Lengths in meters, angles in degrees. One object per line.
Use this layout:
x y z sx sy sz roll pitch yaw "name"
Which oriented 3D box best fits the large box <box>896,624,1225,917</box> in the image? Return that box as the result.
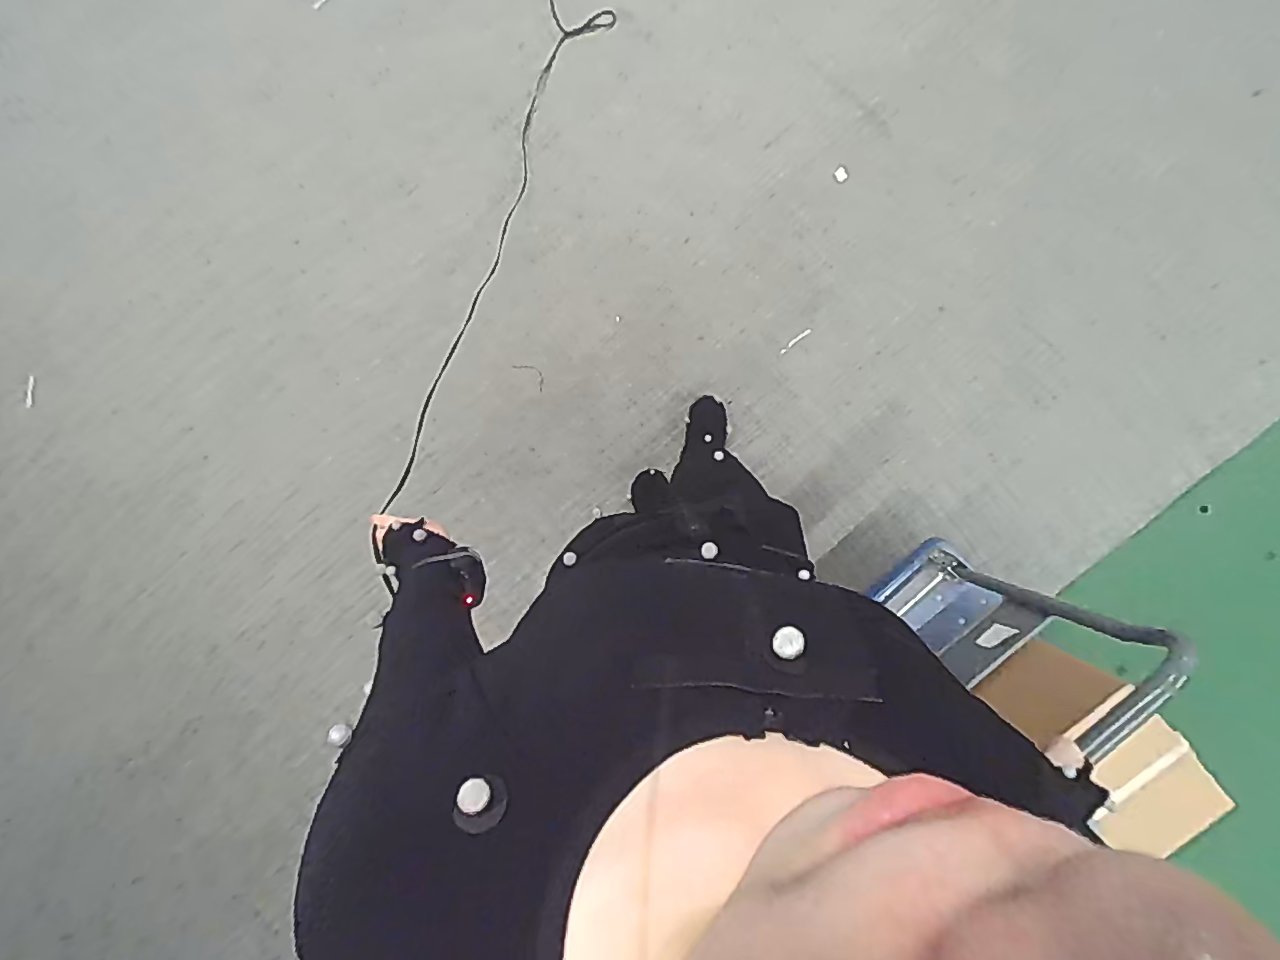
0.868 0.595 1.178 0.408 0.320 0.320 -41 90 4 "large box"
